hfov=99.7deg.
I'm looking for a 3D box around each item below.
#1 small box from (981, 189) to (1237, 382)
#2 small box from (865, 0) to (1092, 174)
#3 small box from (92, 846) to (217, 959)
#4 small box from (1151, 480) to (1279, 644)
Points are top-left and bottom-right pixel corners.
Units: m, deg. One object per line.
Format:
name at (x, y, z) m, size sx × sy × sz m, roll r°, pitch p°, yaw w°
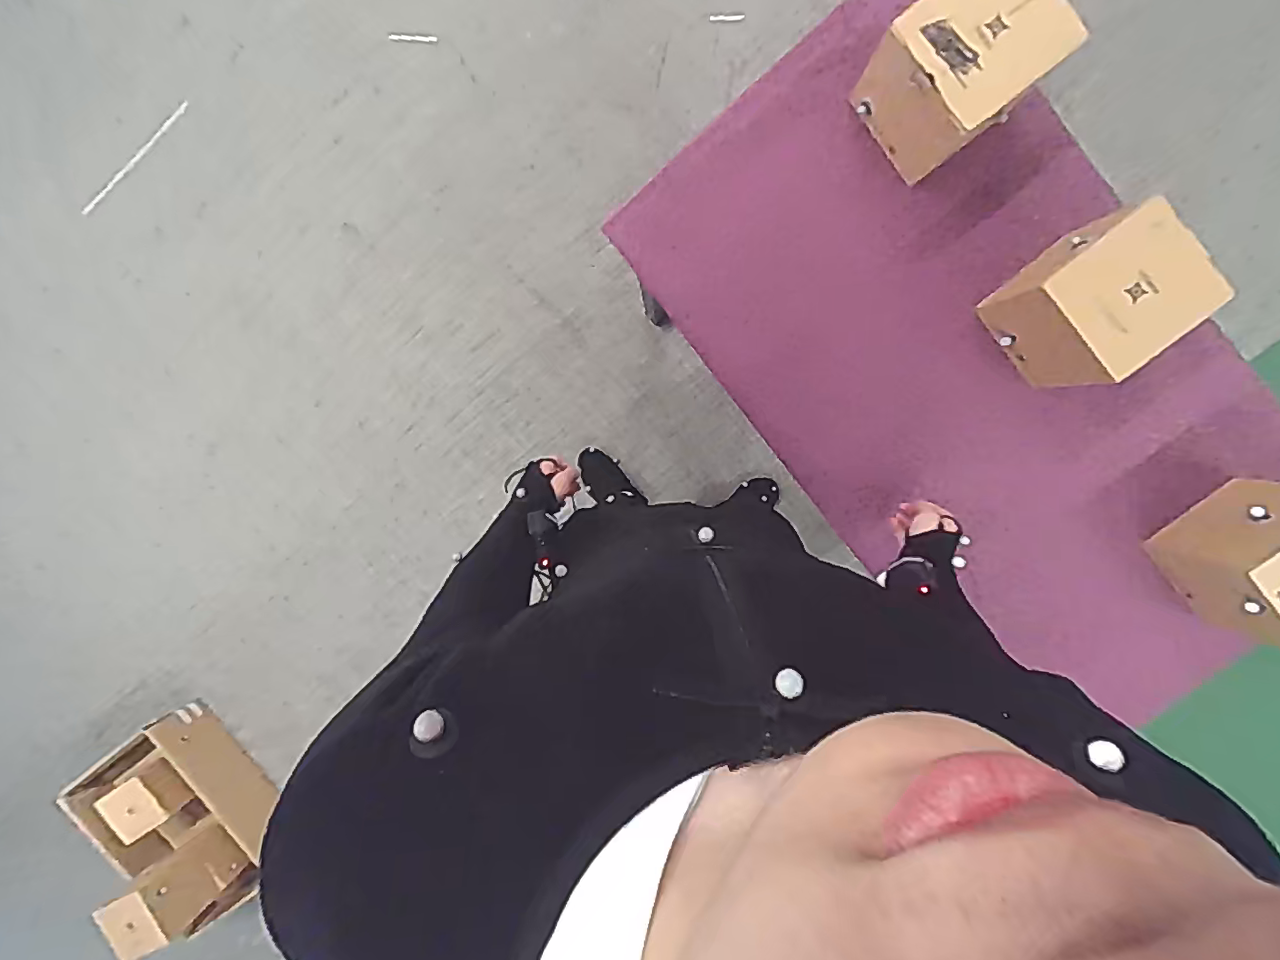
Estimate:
small box at (0.637, -0.256, 0.761) m, size 0.179 × 0.176 × 0.168 m, roll -39°, pitch 93°, yaw 7°
small box at (0.432, -0.561, 0.732) m, size 0.179 × 0.176 × 0.168 m, roll -37°, pitch 94°, yaw 7°
small box at (-1.380, 1.196, 1.549) m, size 0.168 × 0.176 × 0.179 m, roll -27°, pitch 93°, yaw 7°
small box at (0.927, 0.116, 0.787) m, size 0.179 × 0.176 × 0.168 m, roll -40°, pitch 92°, yaw 6°
